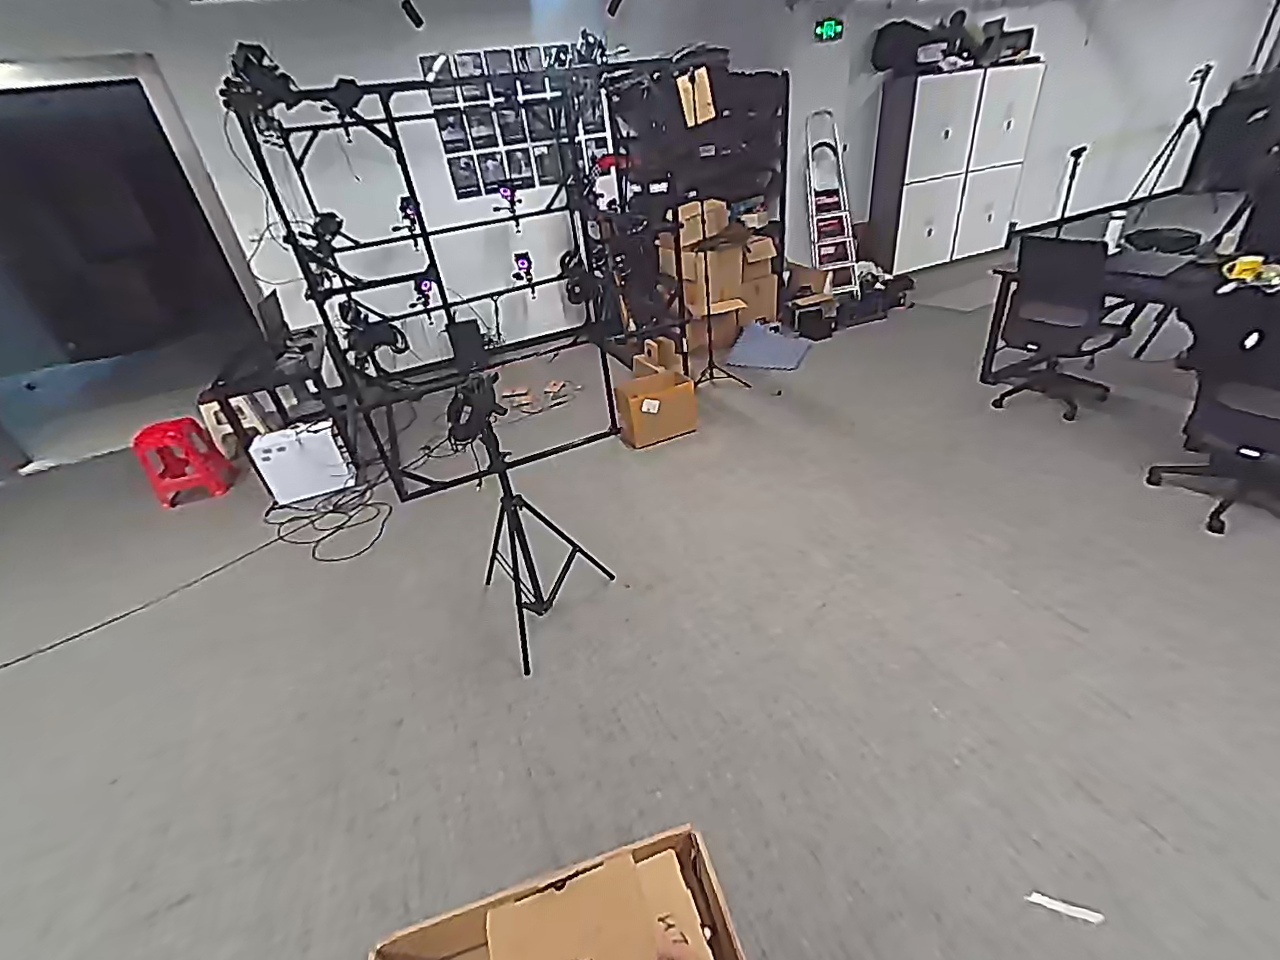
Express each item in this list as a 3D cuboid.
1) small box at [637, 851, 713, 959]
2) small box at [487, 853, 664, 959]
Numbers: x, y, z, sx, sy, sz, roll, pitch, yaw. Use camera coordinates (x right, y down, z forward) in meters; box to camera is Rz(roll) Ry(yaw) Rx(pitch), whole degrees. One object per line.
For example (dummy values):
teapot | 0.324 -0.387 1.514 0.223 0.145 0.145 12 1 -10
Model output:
small box | 0.010 0.702 0.794 0.179 0.176 0.168 -17 32 -12
small box | -0.055 0.548 0.582 0.168 0.176 0.179 -16 45 -10
